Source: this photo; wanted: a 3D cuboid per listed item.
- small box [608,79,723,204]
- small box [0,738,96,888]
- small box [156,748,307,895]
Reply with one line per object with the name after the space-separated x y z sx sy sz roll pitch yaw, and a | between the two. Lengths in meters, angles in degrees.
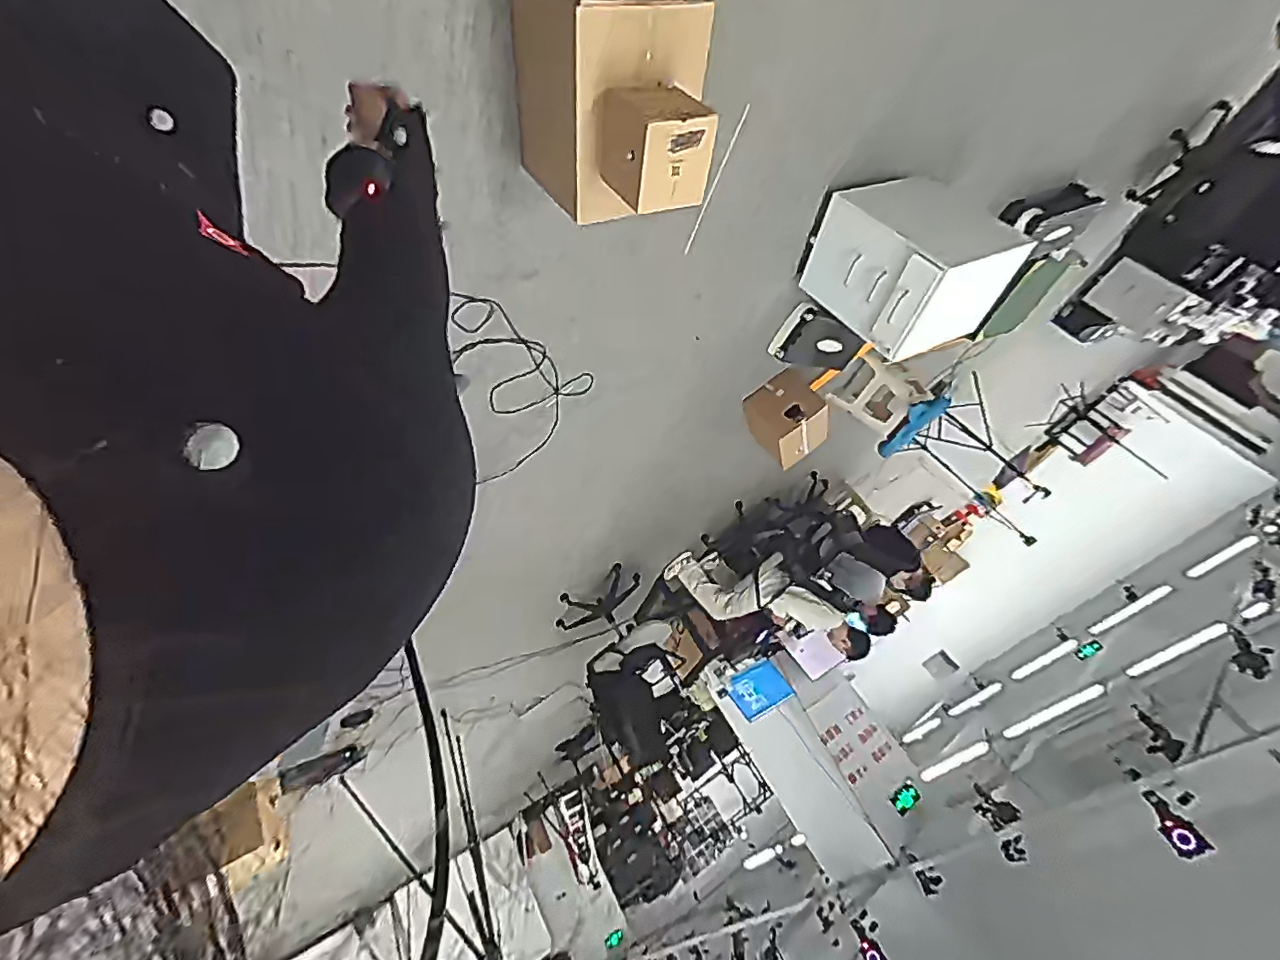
0.044 -0.709 1.124 0.168 0.176 0.179 -21 148 -22 | small box
-1.089 0.589 0.953 0.168 0.176 0.179 -9 142 -41 | small box
-0.775 0.647 1.034 0.179 0.176 0.168 -21 149 -27 | small box
